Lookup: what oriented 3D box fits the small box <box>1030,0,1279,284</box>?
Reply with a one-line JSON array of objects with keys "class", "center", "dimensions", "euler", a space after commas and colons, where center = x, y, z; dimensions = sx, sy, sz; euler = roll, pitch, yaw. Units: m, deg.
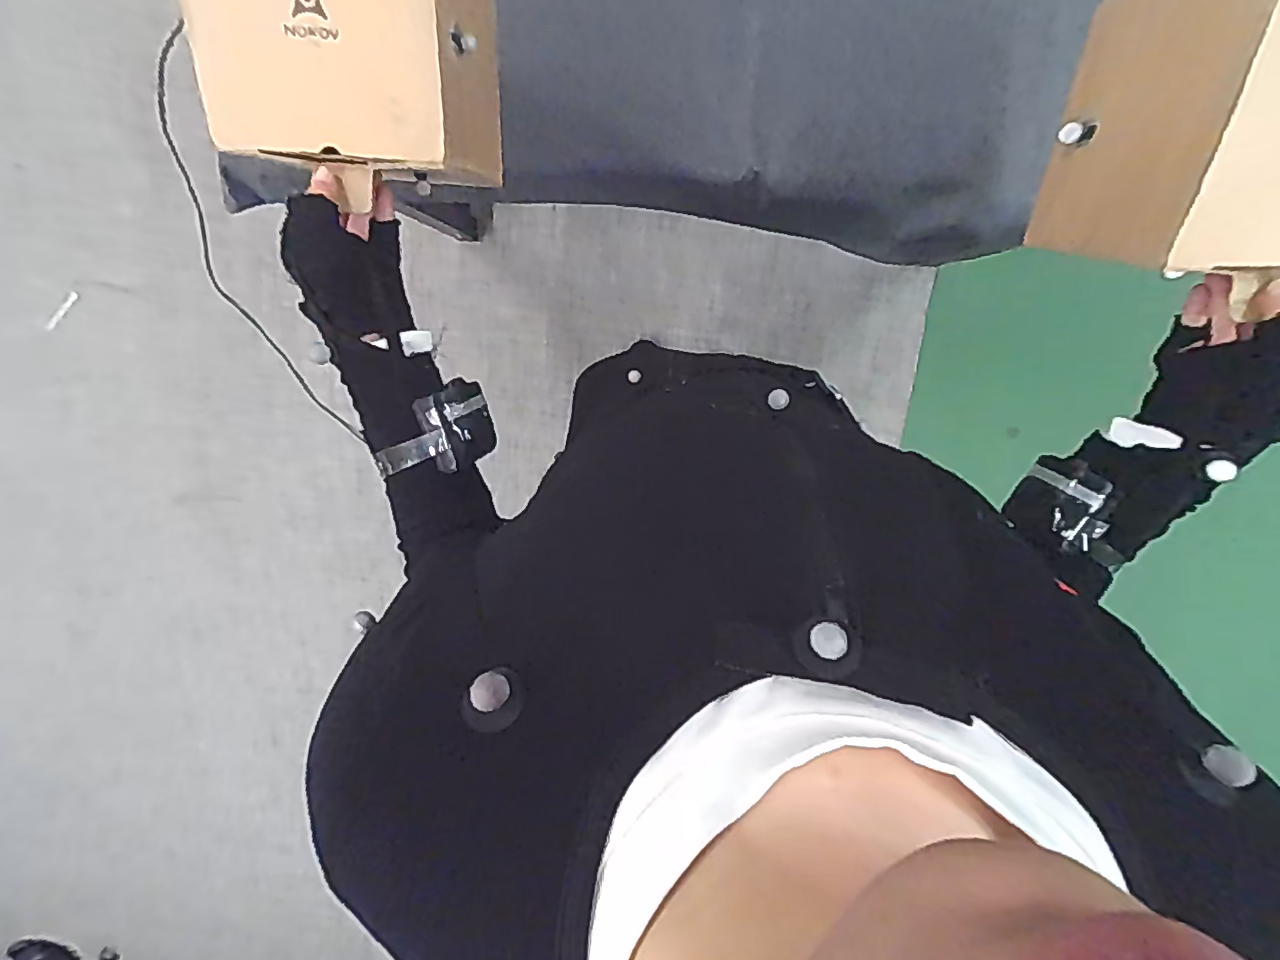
[{"class": "small box", "center": [0.423, -0.245, 0.382], "dimensions": [0.168, 0.176, 0.179], "euler": [1, 119, 3]}]

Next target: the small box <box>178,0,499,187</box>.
[{"class": "small box", "center": [-0.211, -0.334, 0.418], "dimensions": [0.168, 0.176, 0.179], "euler": [3, 113, -2]}]
